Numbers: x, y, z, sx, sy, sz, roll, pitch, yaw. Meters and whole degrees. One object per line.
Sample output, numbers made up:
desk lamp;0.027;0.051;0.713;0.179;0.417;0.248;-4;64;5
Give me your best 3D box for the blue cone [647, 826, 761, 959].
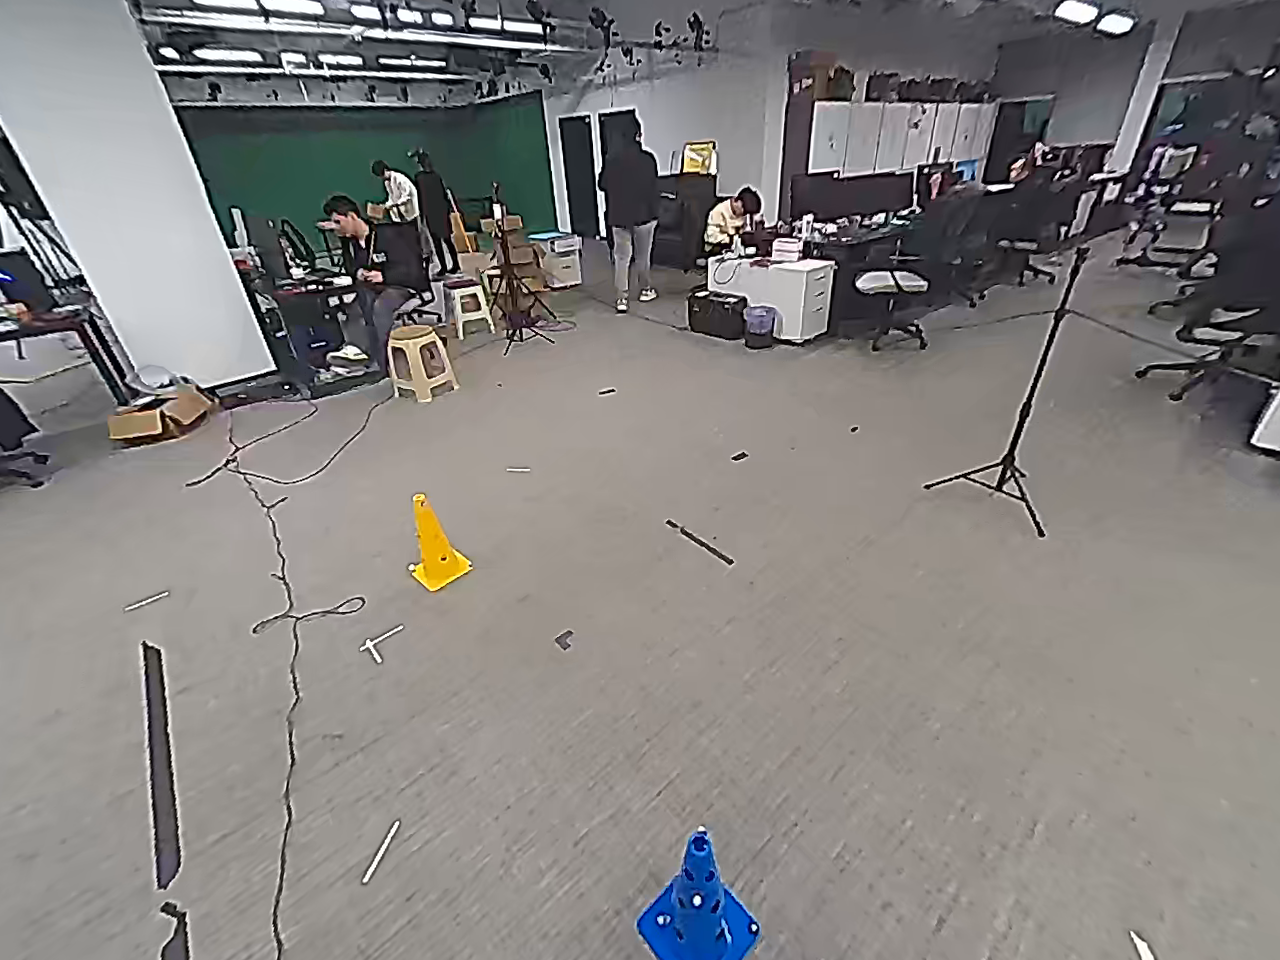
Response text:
blue cone;0.124;0.805;1.064;0.192;0.380;0.193;-25;37;-32
